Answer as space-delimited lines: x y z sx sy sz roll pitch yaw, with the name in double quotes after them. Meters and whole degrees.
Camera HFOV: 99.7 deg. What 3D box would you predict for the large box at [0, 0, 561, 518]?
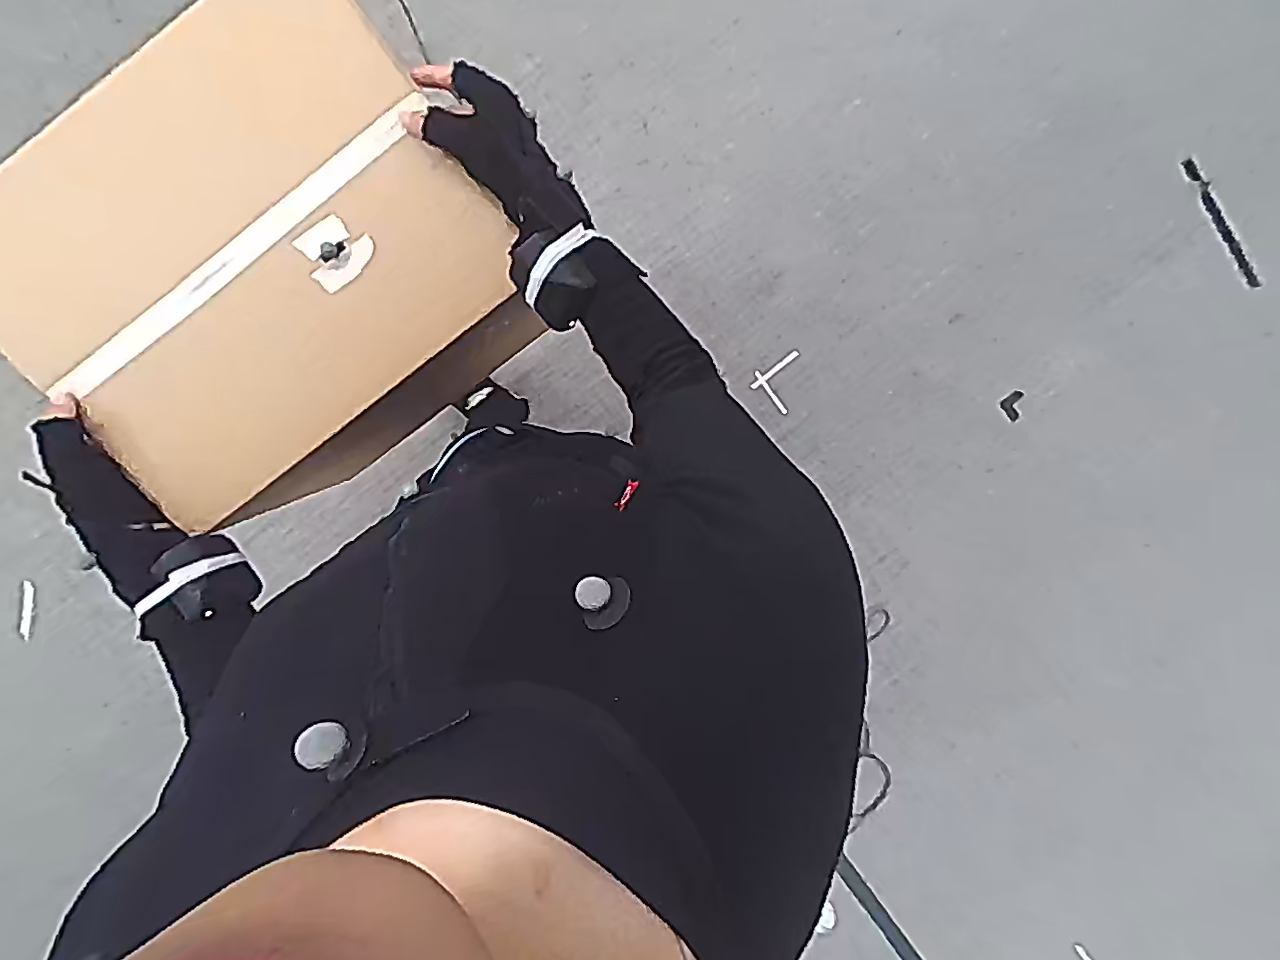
-0.343 -0.223 0.609 0.408 0.320 0.320 -37 102 1 "large box"
